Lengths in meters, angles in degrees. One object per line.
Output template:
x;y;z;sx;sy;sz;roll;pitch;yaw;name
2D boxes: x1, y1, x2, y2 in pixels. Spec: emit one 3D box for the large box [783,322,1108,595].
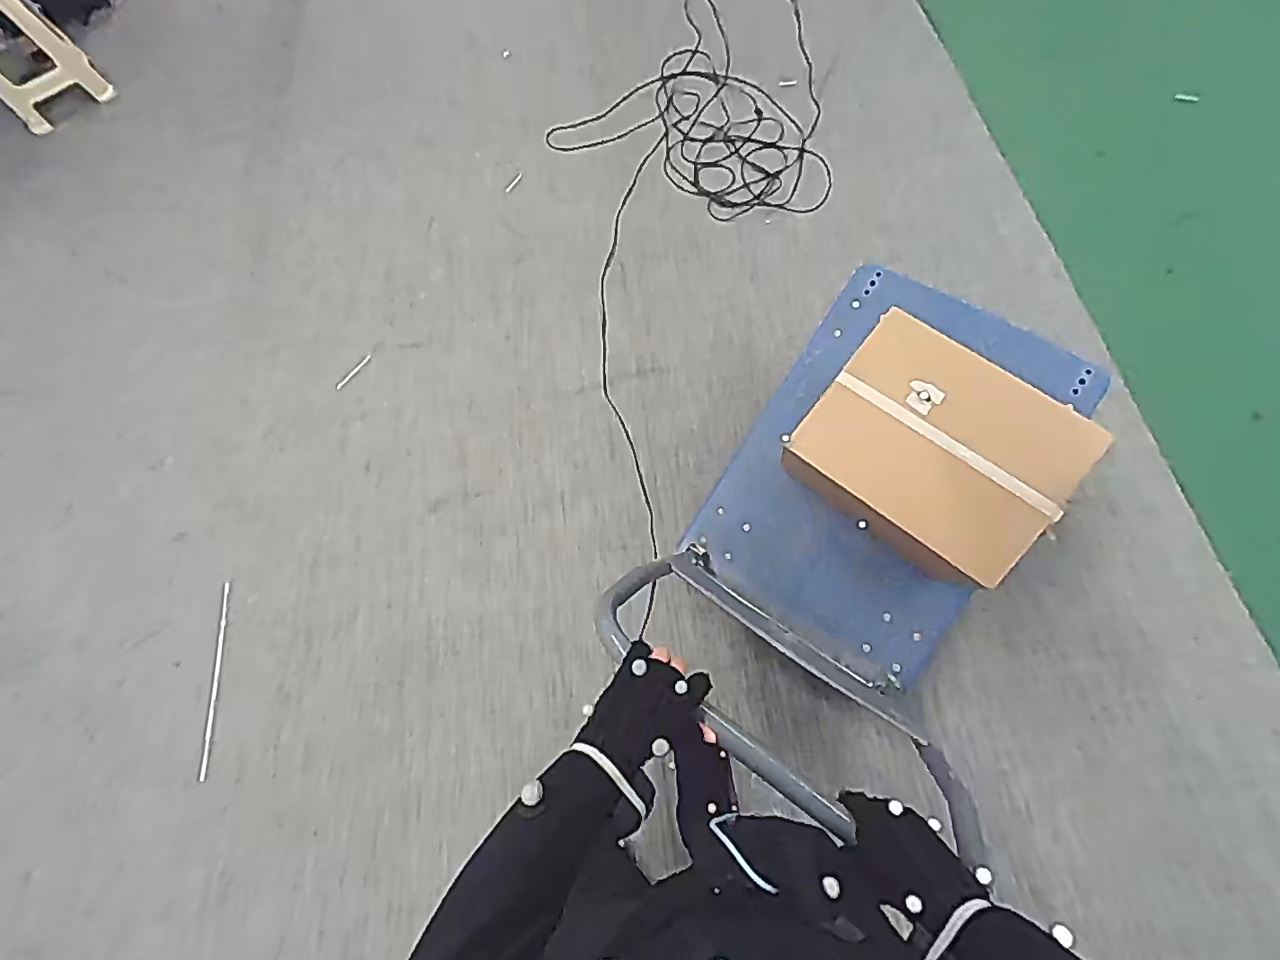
0.538;-0.028;1.054;0.408;0.320;0.320;39;93;16;large box
